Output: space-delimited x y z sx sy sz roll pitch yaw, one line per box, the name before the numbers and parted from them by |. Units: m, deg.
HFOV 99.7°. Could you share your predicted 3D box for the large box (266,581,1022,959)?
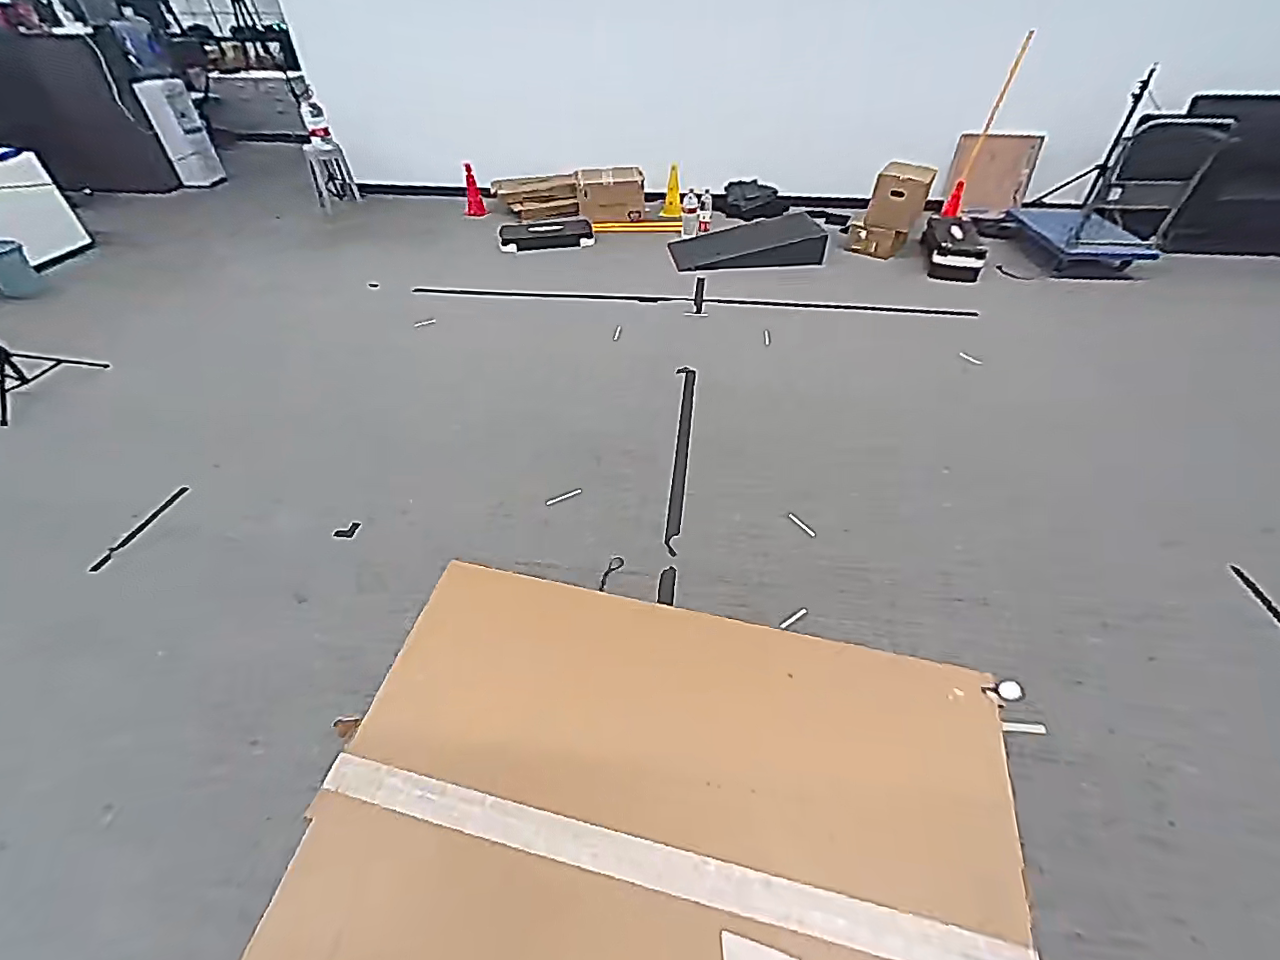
large box | 0.011 0.319 0.431 0.408 0.320 0.320 10 53 9
